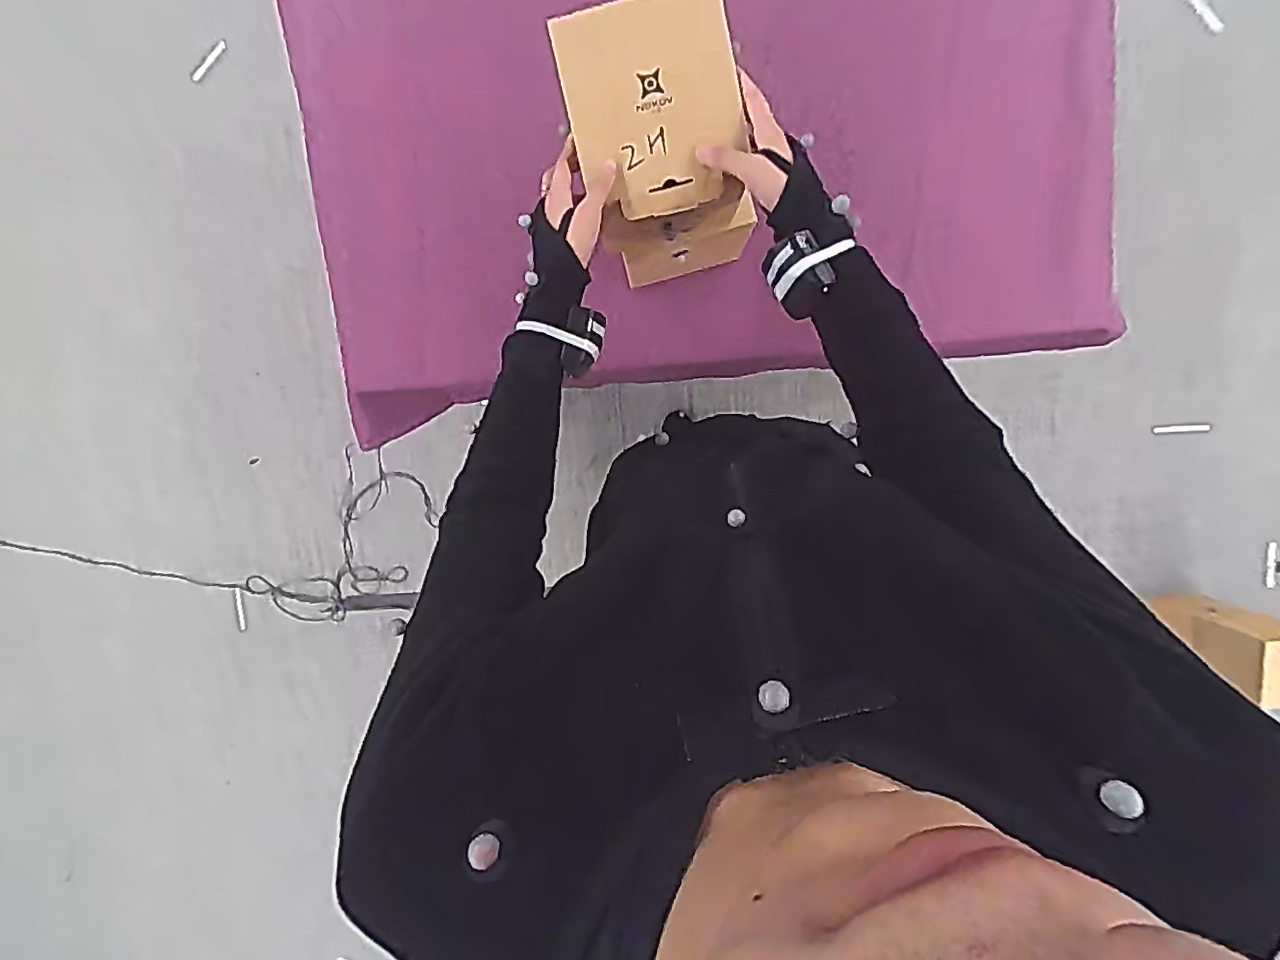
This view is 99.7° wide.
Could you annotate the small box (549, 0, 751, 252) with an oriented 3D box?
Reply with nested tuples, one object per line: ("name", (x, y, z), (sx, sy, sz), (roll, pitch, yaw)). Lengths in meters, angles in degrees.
("small box", (0.013, -0.376, 0.589), (0.168, 0.176, 0.179), (-12, 97, 4))

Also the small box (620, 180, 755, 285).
("small box", (0.045, -0.389, 0.753), (0.179, 0.176, 0.168), (-15, 96, 3))

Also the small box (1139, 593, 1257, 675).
("small box", (1.562, 0.430, 1.525), (0.179, 0.176, 0.168), (-7, 96, 3))
